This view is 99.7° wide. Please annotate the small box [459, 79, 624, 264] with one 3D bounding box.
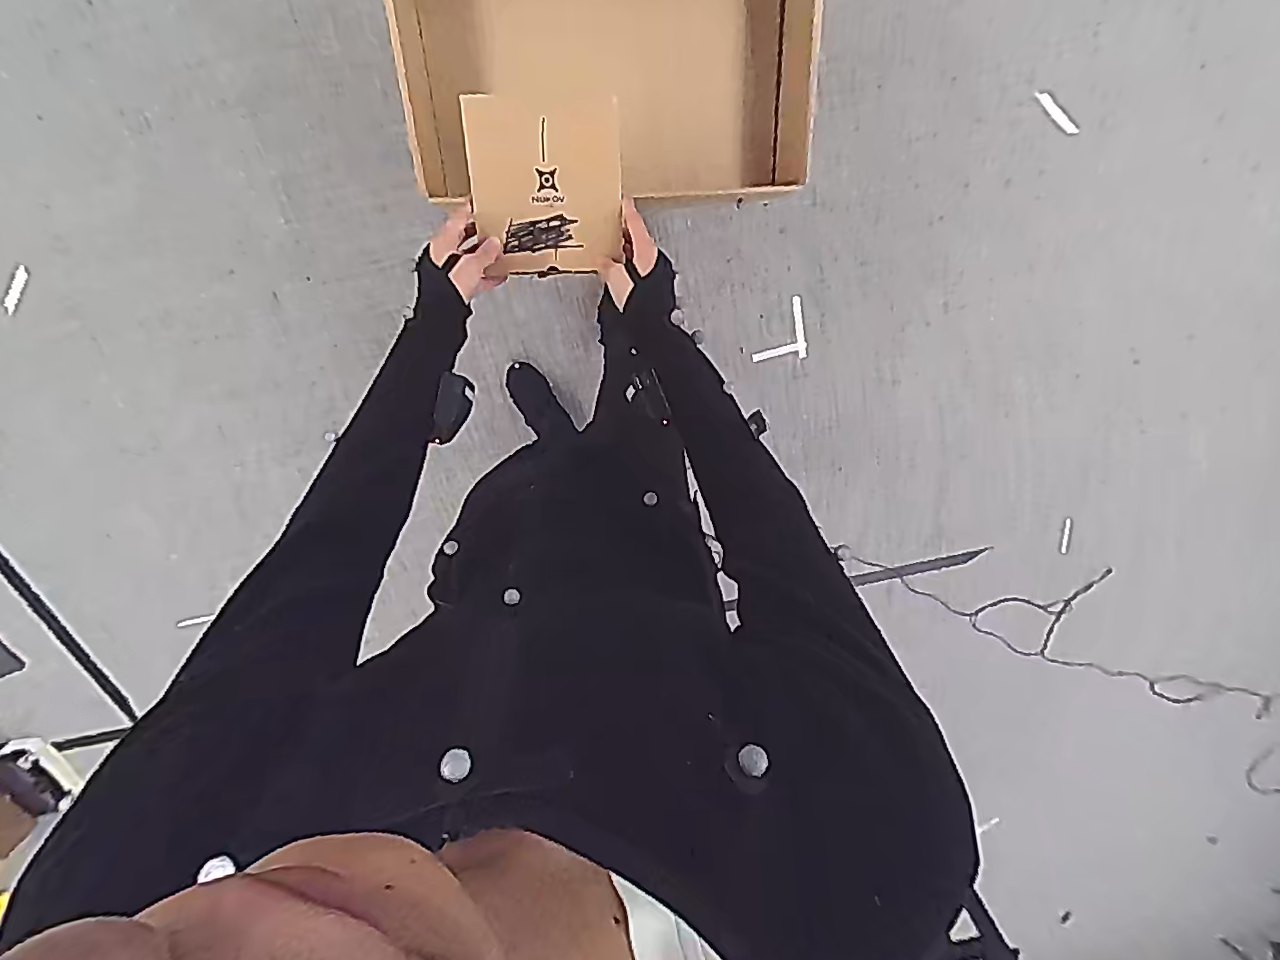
[{"bbox_3d":[-0.103,-0.363,0.658,0.168,0.176,0.179,-2,115,-1],"label":"small box"}]
